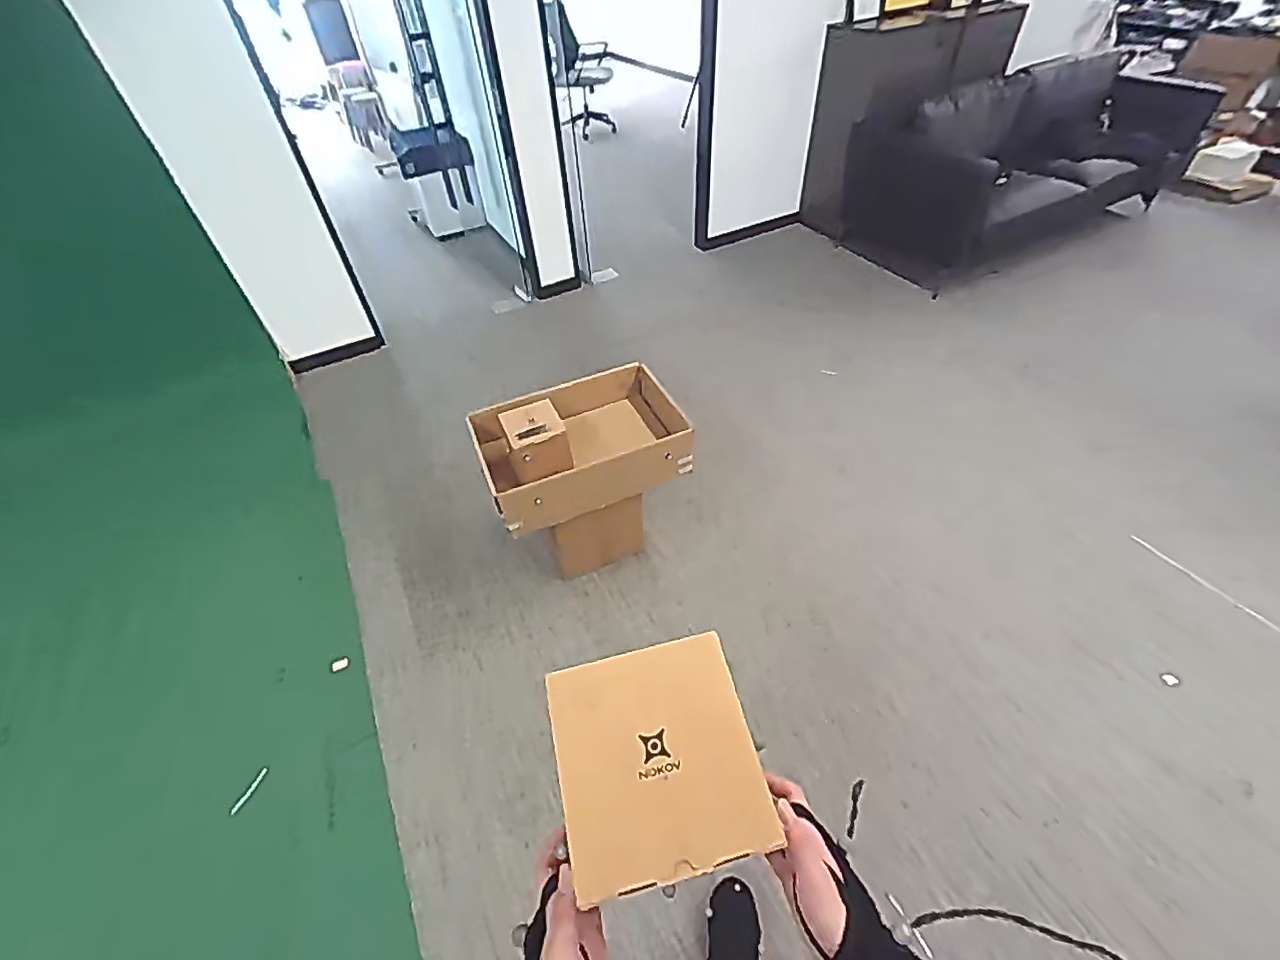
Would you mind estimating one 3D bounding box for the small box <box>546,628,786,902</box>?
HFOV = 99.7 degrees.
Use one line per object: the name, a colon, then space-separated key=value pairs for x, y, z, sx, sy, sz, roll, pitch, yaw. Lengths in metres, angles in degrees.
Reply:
small box: x=0.013 y=0.267 z=0.510 sx=0.168 sy=0.176 sz=0.179 roll=-12 pitch=56 yaw=-7
